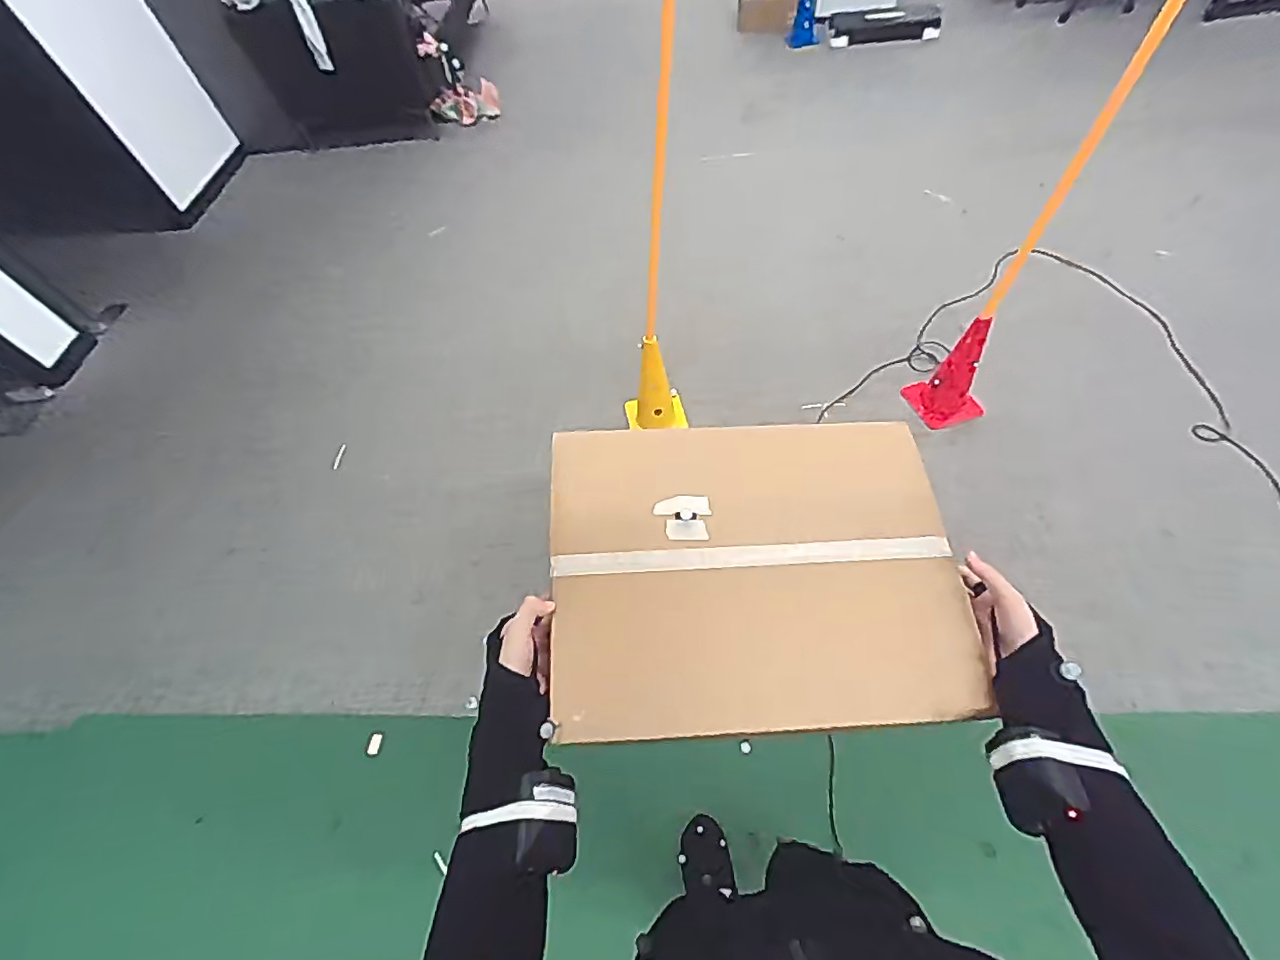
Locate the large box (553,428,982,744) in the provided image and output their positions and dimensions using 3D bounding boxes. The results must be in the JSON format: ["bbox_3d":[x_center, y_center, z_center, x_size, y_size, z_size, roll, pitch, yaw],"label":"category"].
[{"bbox_3d":[0.111,0.151,0.688,0.408,0.320,0.320,-2,63,-2],"label":"large box"}]
